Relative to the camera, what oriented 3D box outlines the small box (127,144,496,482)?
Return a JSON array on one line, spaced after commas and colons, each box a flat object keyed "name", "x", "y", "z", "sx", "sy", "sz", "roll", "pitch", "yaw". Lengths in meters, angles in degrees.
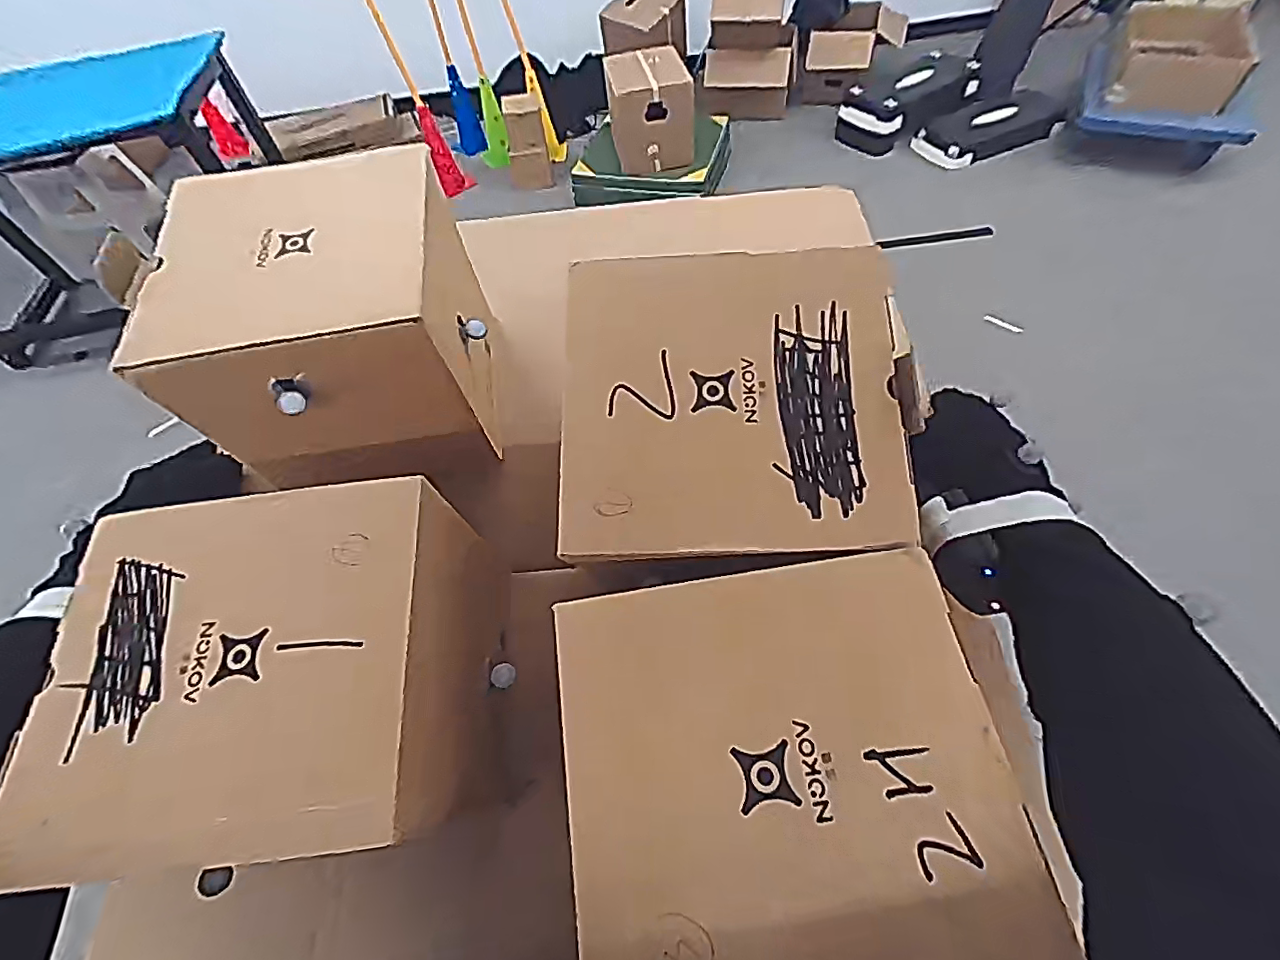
[{"name": "small box", "x": -0.216, "y": -0.115, "z": 0.417, "sx": 0.179, "sy": 0.176, "sz": 0.168, "roll": -10, "pitch": 63, "yaw": -1}]
